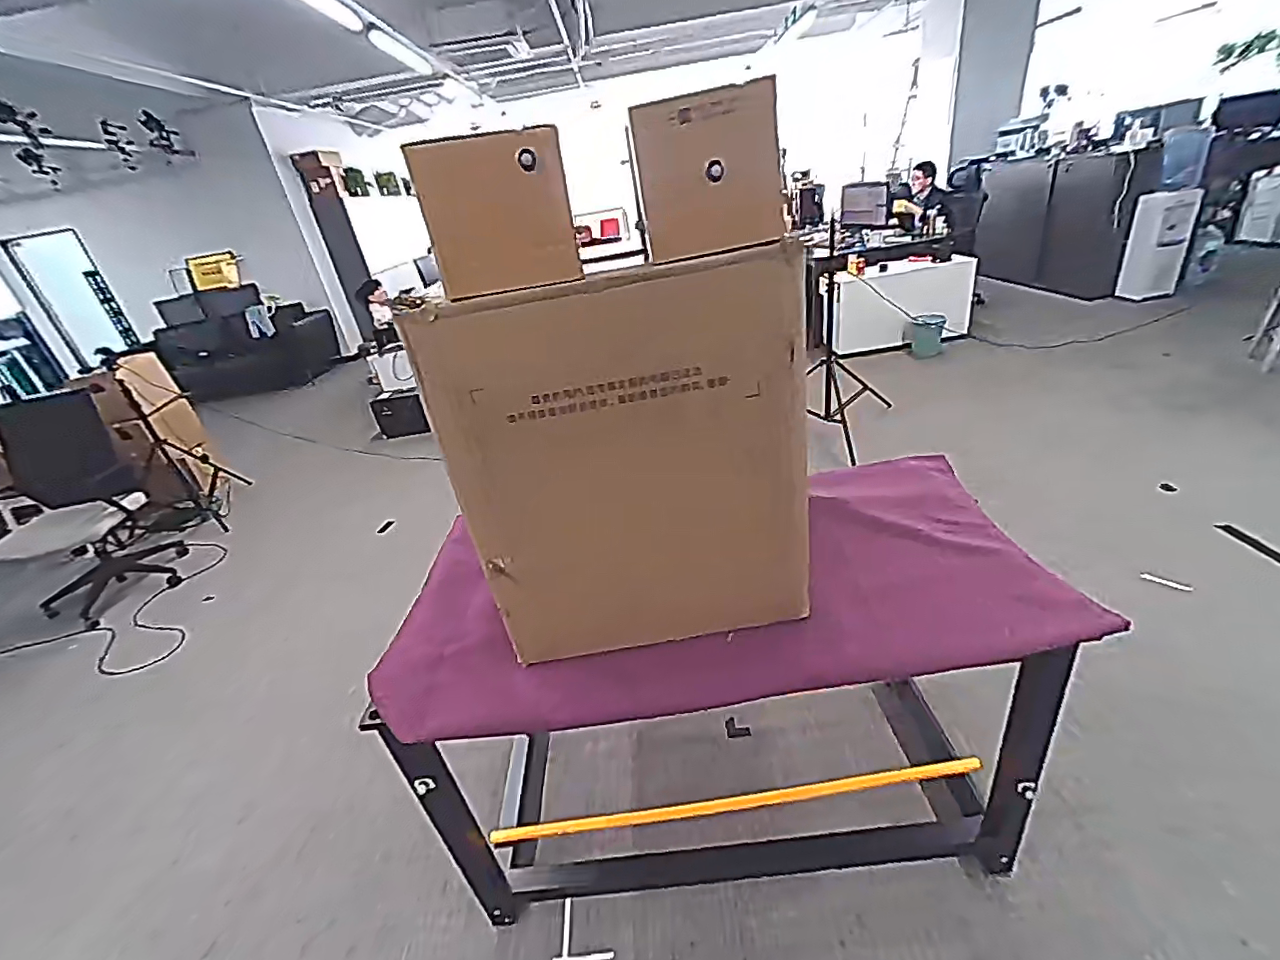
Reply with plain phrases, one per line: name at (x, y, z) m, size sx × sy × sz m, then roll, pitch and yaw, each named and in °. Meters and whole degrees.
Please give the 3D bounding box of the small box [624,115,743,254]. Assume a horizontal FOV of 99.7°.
small box at (0.069, -0.479, 0.892) m, size 0.168 × 0.176 × 0.179 m, roll -9°, pitch 28°, yaw 4°
